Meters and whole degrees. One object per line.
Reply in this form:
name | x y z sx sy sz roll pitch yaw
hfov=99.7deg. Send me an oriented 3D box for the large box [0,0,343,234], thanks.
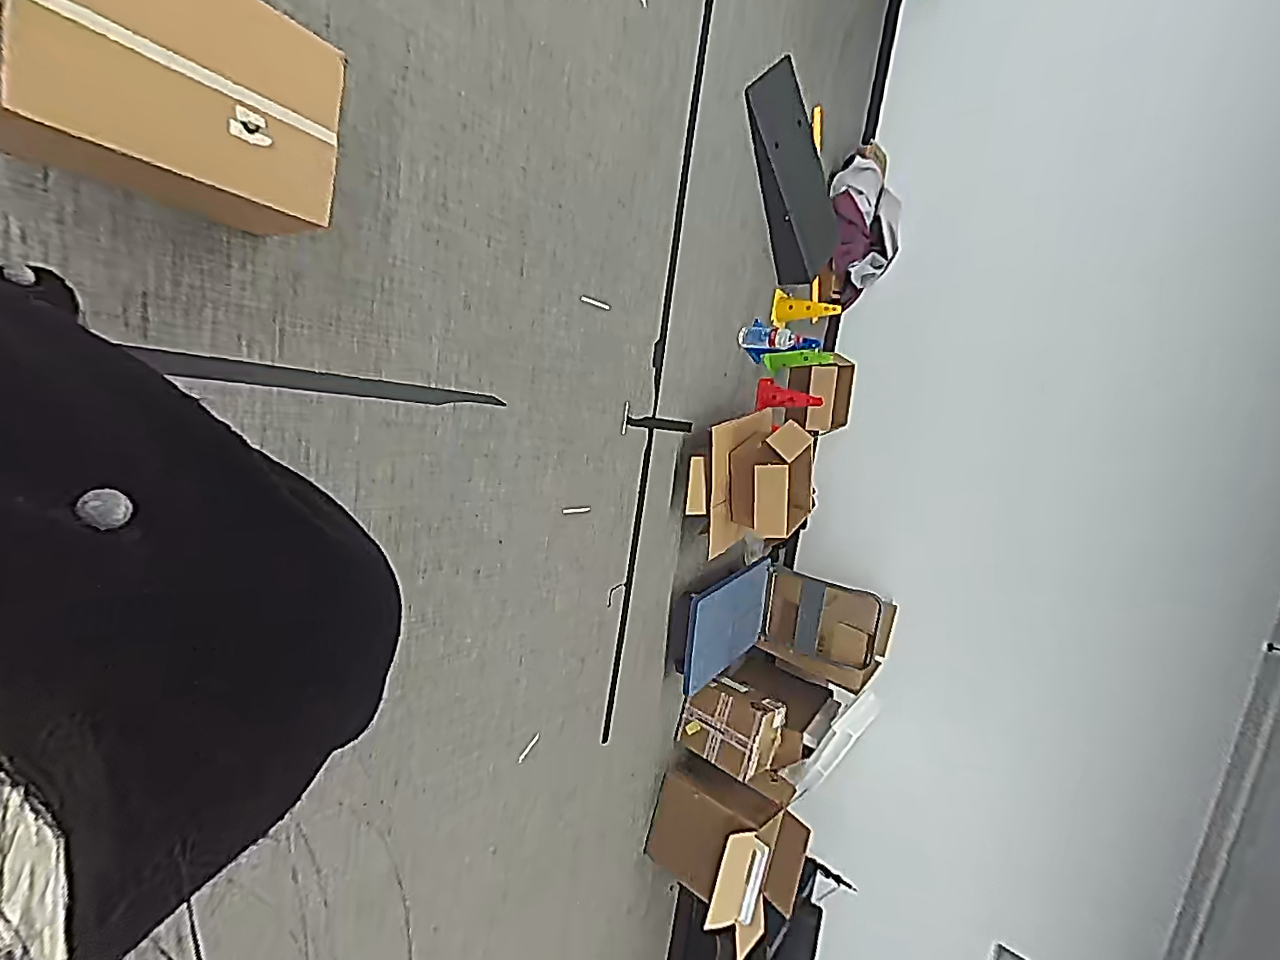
large box | -0.805 -0.666 0.939 0.408 0.320 0.320 2 100 -54
